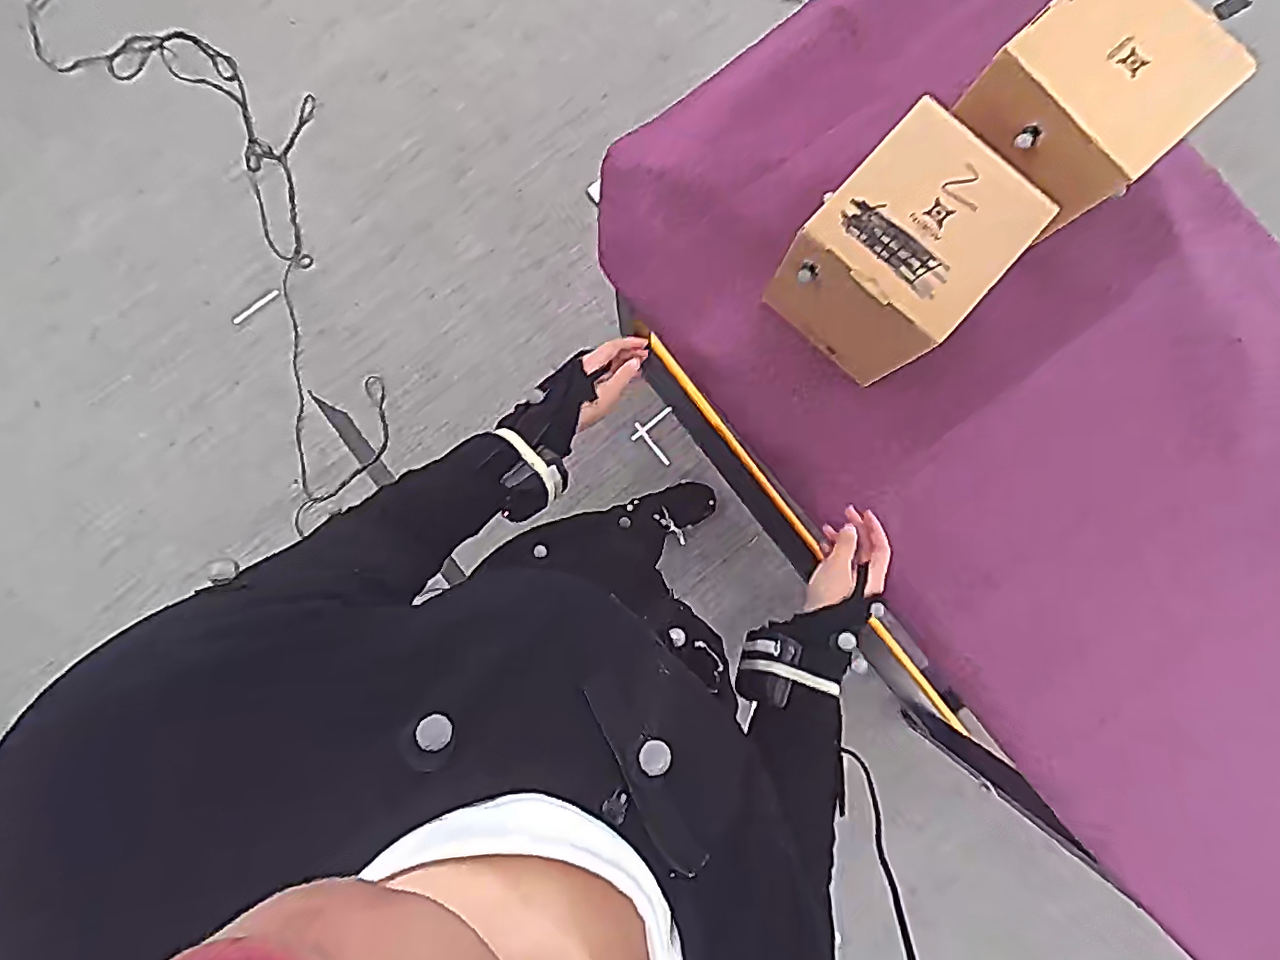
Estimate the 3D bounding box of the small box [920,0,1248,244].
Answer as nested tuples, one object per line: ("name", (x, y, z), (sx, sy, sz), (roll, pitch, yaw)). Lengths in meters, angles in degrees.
("small box", (0.456, -0.389, 0.588), (0.168, 0.176, 0.179), (-41, 88, -2))
